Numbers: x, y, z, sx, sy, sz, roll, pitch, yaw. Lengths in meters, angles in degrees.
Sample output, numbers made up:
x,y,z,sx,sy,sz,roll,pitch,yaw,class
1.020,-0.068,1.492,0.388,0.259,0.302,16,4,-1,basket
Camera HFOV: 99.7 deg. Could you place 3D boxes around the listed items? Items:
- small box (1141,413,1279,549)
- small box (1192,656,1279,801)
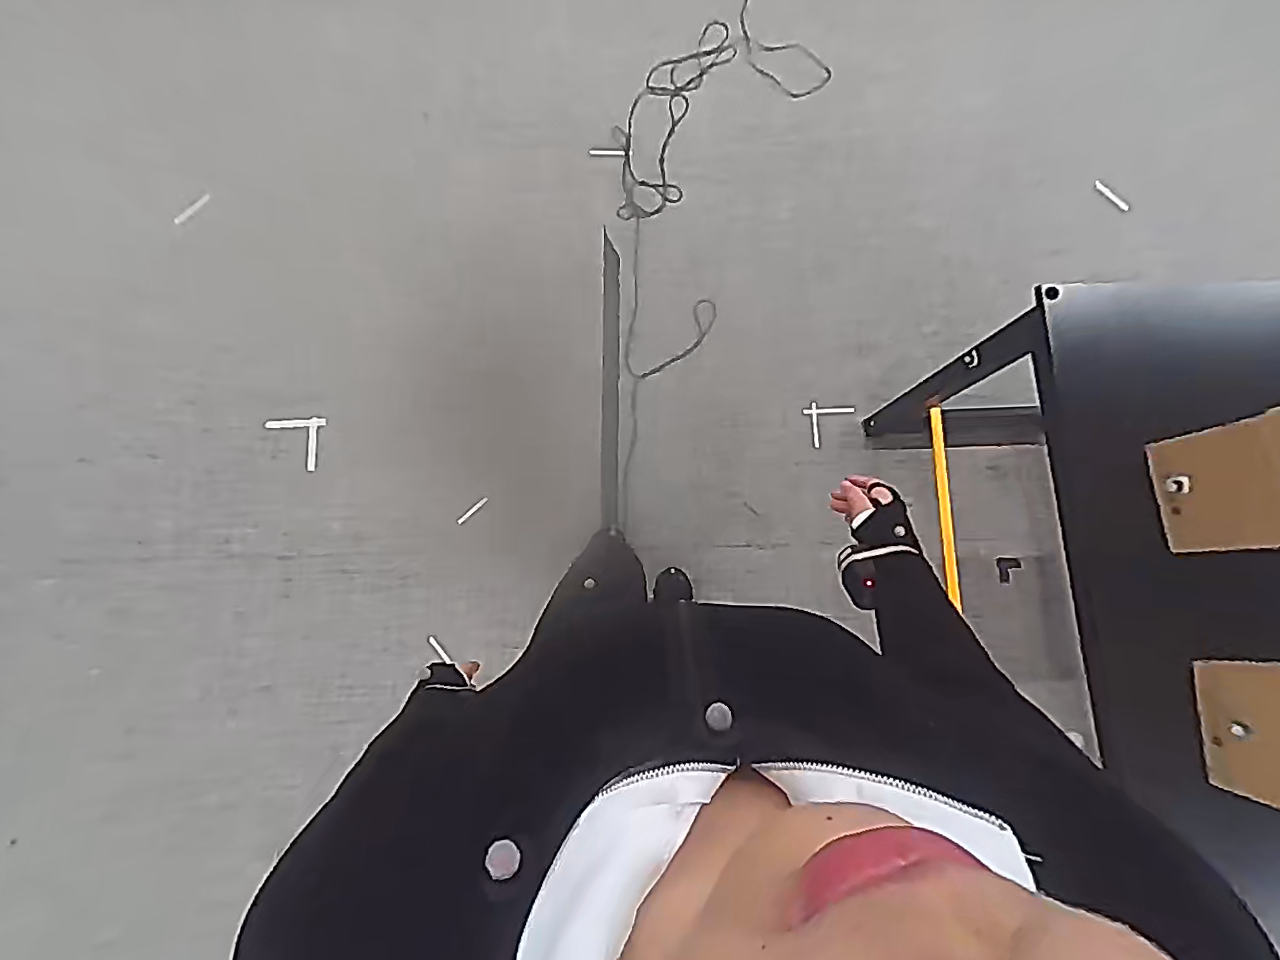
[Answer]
x,y,z,sx,sy,sz,roll,pitch,yaw,class
0.866,0.003,0.746,0.179,0.176,0.168,-6,79,-1,small box
0.878,0.322,0.688,0.179,0.176,0.168,2,80,-1,small box
